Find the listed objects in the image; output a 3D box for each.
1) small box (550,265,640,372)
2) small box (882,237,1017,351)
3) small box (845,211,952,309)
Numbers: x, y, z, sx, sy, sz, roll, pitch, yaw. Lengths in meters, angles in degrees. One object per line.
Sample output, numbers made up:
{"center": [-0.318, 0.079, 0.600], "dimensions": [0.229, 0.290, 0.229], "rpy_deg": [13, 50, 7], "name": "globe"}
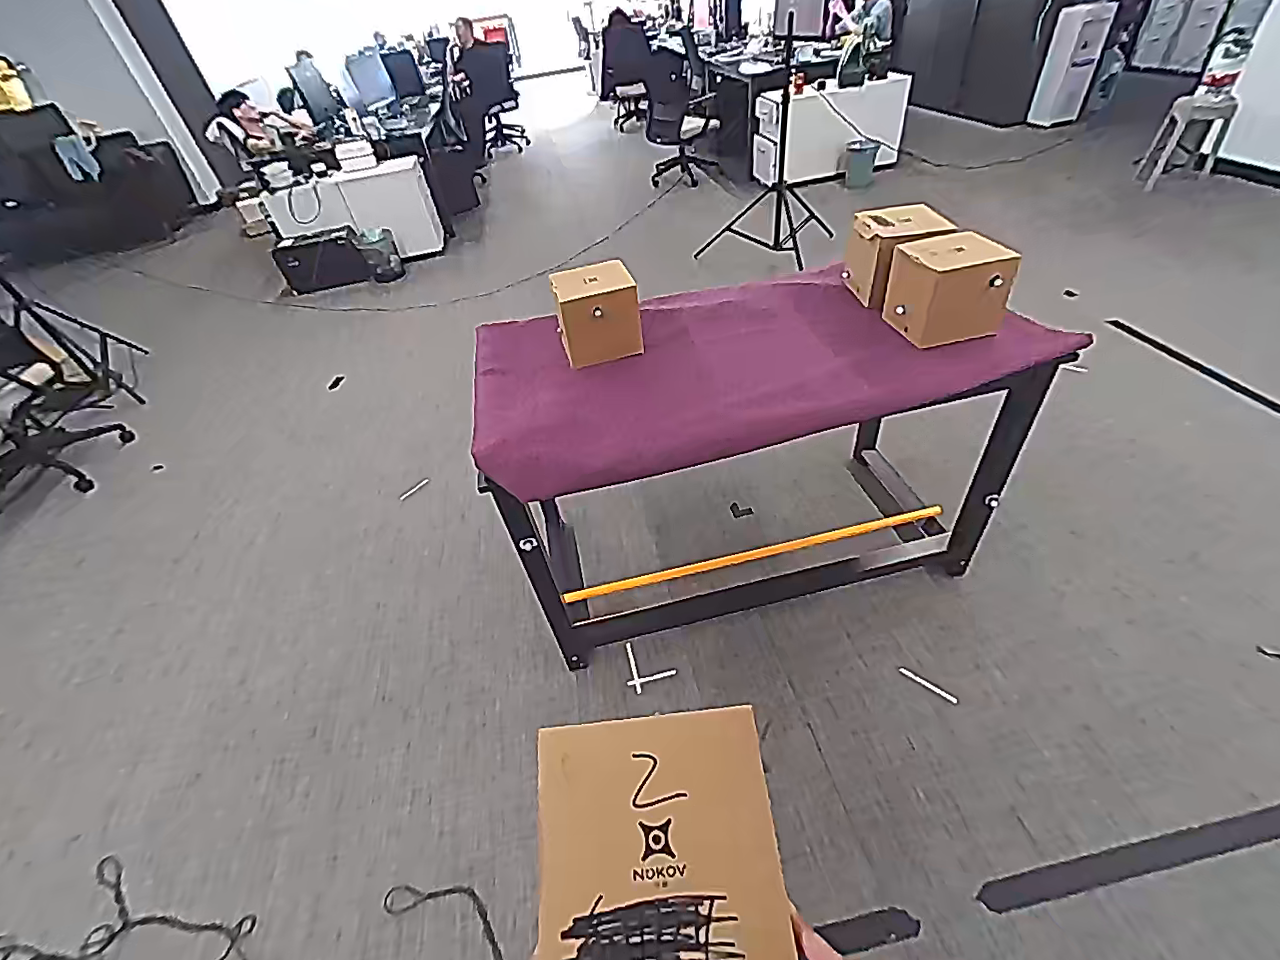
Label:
{"center": [-0.102, -0.379, 1.274], "dimensions": [0.179, 0.176, 0.168], "rpy_deg": [-15, 43, -7], "name": "small box"}
{"center": [0.651, -0.398, 1.162], "dimensions": [0.179, 0.176, 0.168], "rpy_deg": [-12, 41, -2], "name": "small box"}
{"center": [0.611, -0.529, 1.309], "dimensions": [0.179, 0.176, 0.168], "rpy_deg": [-8, 44, 0], "name": "small box"}
